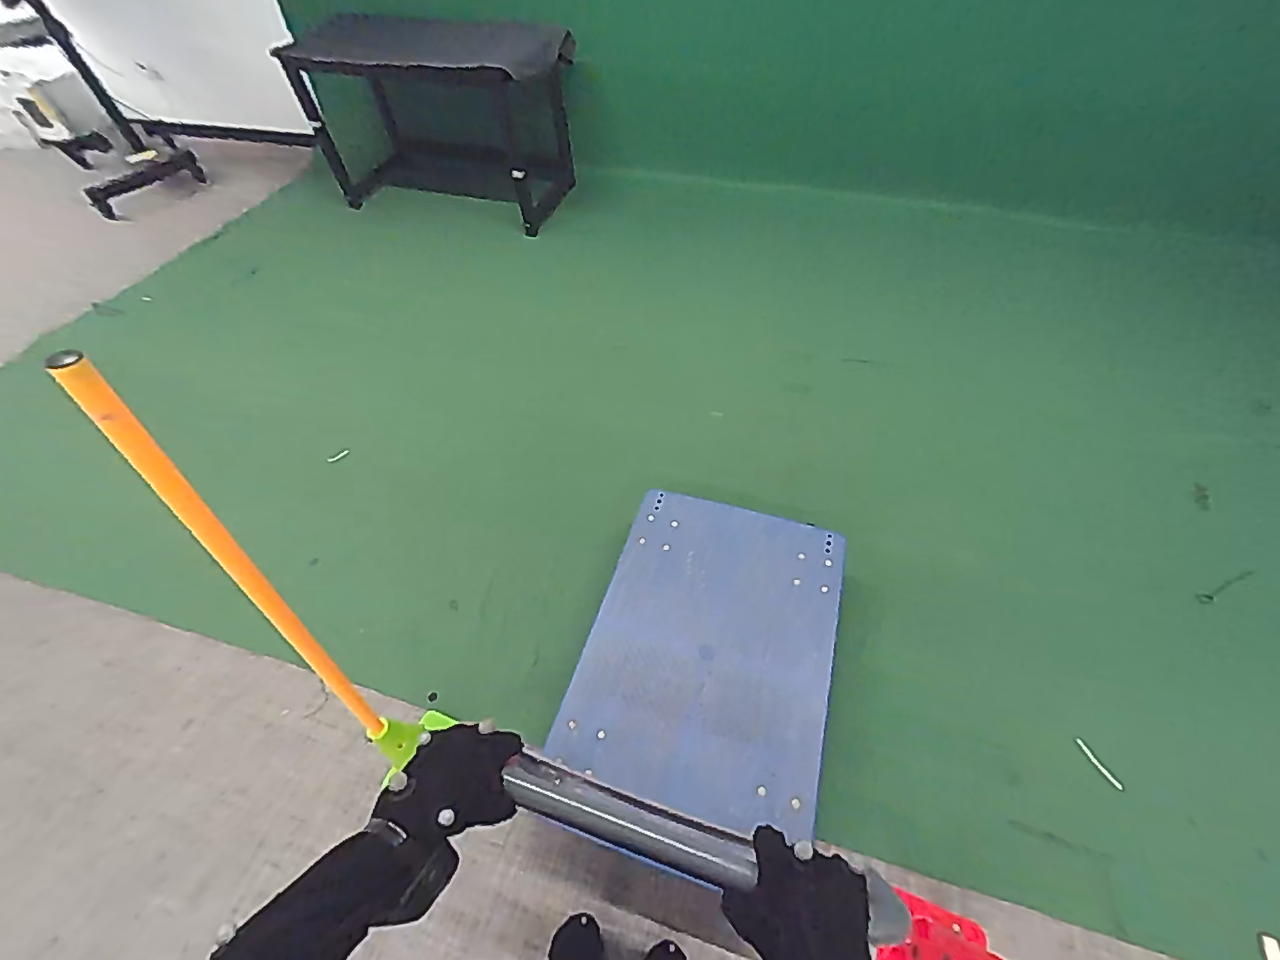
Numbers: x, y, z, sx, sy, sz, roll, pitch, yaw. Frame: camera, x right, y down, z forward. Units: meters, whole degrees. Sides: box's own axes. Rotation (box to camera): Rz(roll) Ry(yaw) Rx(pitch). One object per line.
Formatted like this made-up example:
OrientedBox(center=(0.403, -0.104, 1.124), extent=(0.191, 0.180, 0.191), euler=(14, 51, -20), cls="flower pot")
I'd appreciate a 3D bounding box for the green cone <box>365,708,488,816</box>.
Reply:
OrientedBox(center=(-0.507, 0.583, 1.200), extent=(0.202, 0.368, 0.200), euler=(16, 54, 15), cls="green cone")
